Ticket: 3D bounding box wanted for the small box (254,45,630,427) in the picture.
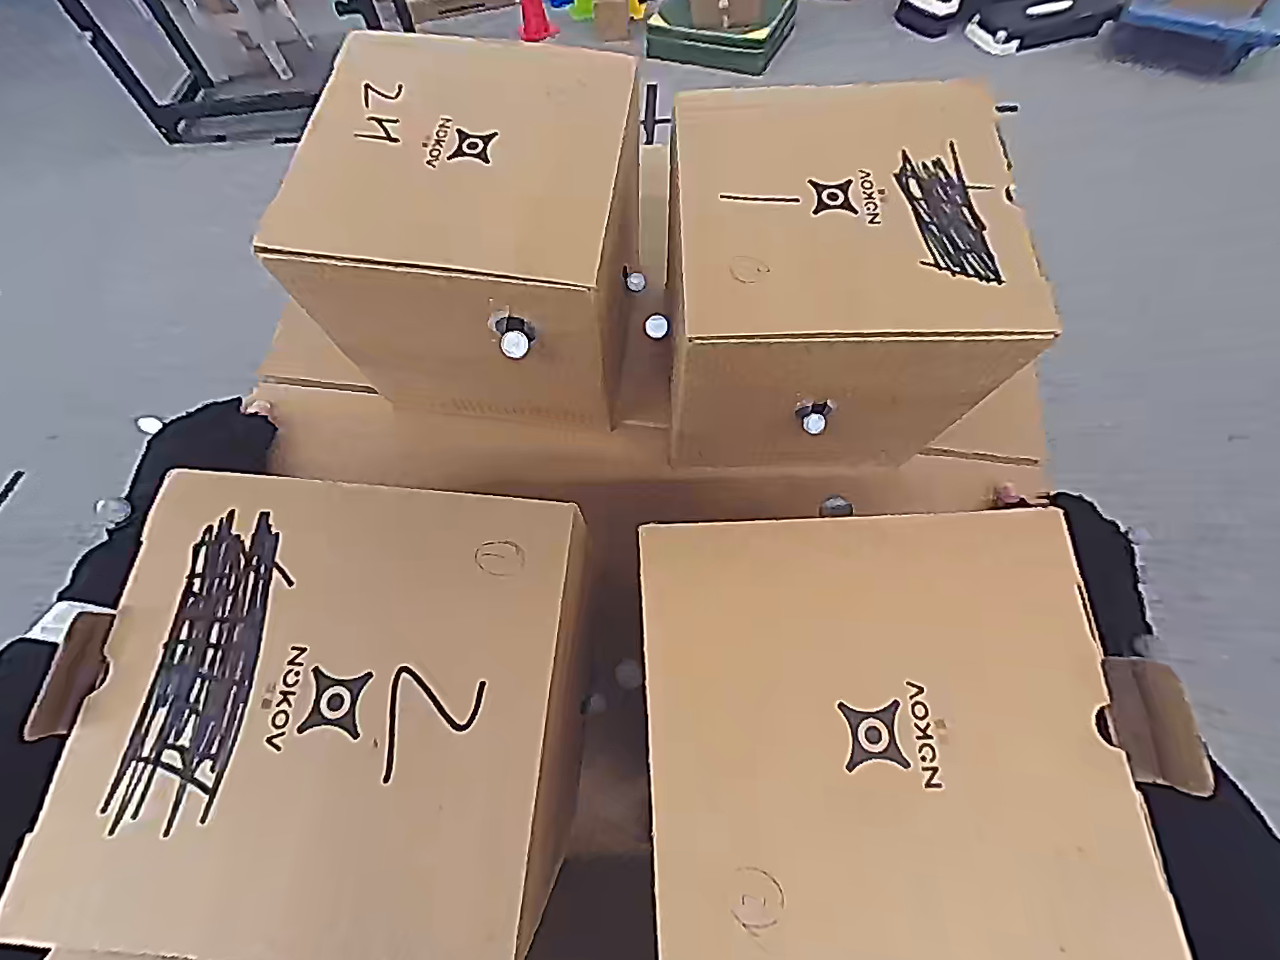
[{"bbox_3d":[-0.103,-0.150,0.376,0.179,0.176,0.168,8,70,3],"label":"small box"}]
